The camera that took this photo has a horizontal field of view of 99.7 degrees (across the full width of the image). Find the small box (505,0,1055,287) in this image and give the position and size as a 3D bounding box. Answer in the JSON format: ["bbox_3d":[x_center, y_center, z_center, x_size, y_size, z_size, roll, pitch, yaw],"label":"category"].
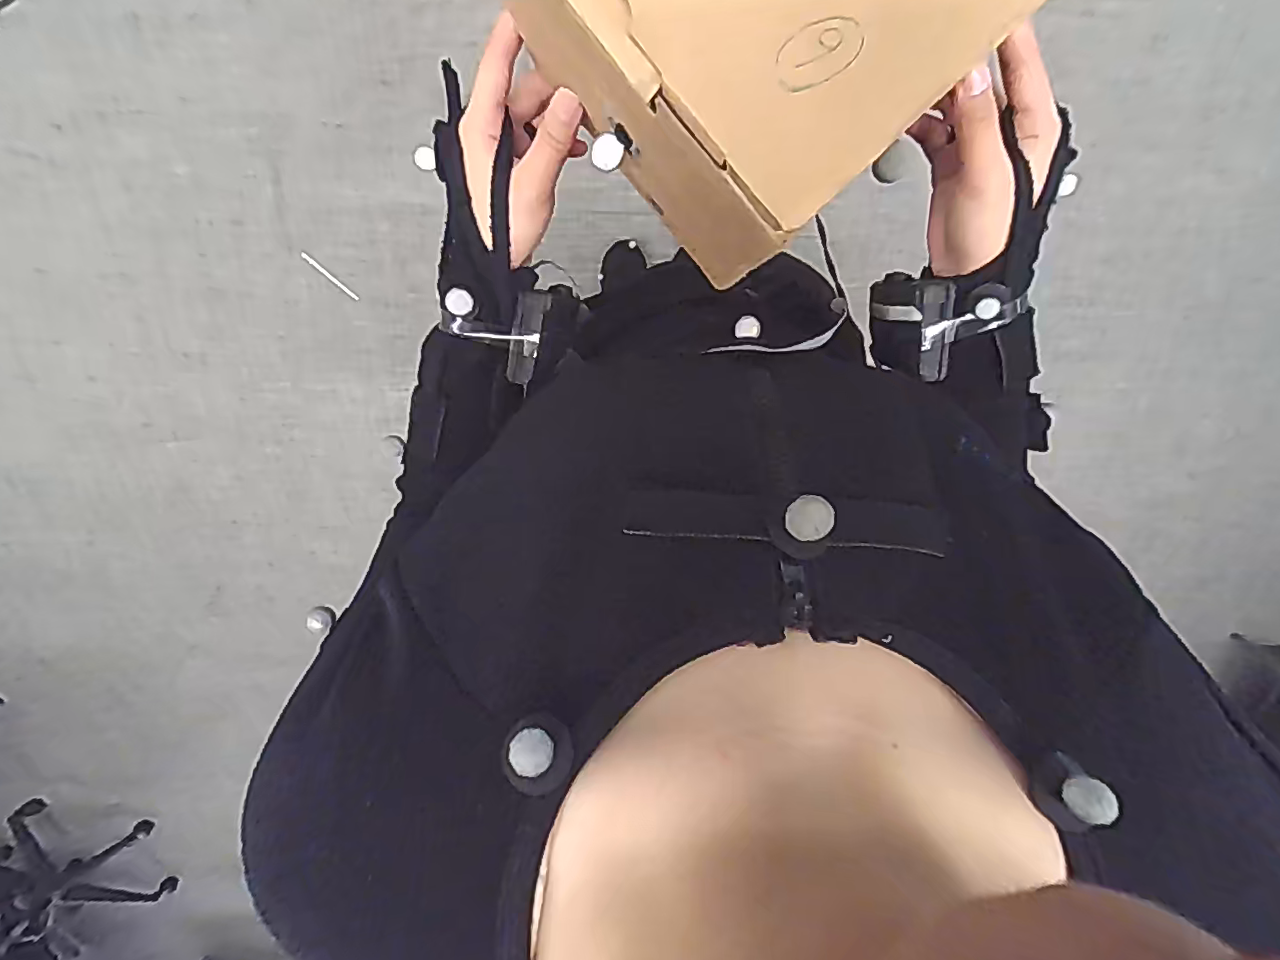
[{"bbox_3d":[0.054,-0.203,0.223,0.179,0.176,0.168,-41,99,12],"label":"small box"}]
